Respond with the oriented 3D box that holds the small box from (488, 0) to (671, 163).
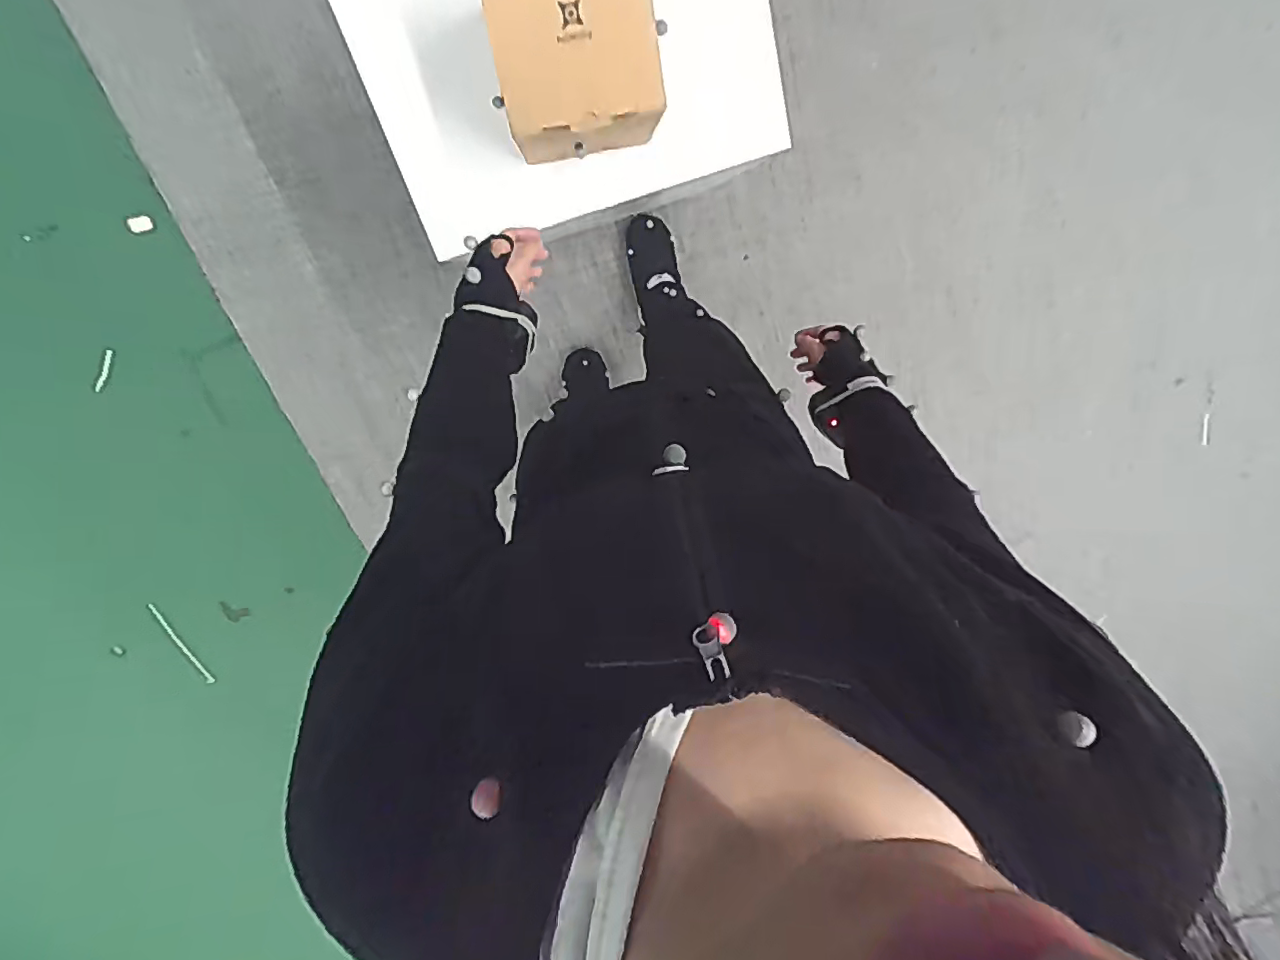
[{"bbox_3d":[-0.069,-0.476,0.598,0.168,0.176,0.179,-12,113,0],"label":"small box"}]
